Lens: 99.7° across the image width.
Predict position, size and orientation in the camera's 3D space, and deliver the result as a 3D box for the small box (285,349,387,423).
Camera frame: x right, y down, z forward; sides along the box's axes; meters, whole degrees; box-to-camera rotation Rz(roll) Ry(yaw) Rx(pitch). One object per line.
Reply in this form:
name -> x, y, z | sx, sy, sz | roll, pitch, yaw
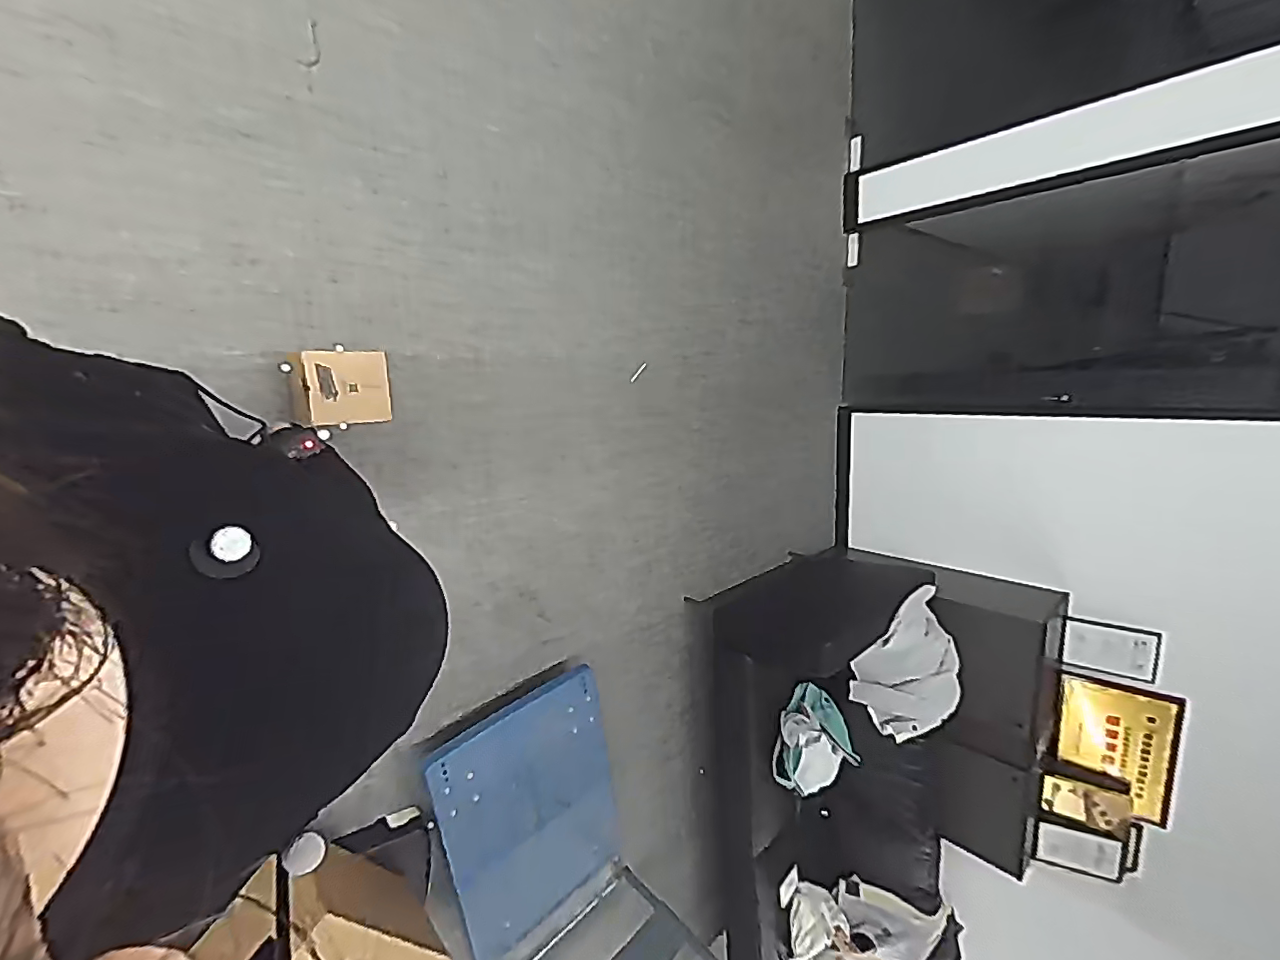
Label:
small box -> -0.731, -0.223, 1.293 | 0.179, 0.176, 0.168 | -11, 105, -42
